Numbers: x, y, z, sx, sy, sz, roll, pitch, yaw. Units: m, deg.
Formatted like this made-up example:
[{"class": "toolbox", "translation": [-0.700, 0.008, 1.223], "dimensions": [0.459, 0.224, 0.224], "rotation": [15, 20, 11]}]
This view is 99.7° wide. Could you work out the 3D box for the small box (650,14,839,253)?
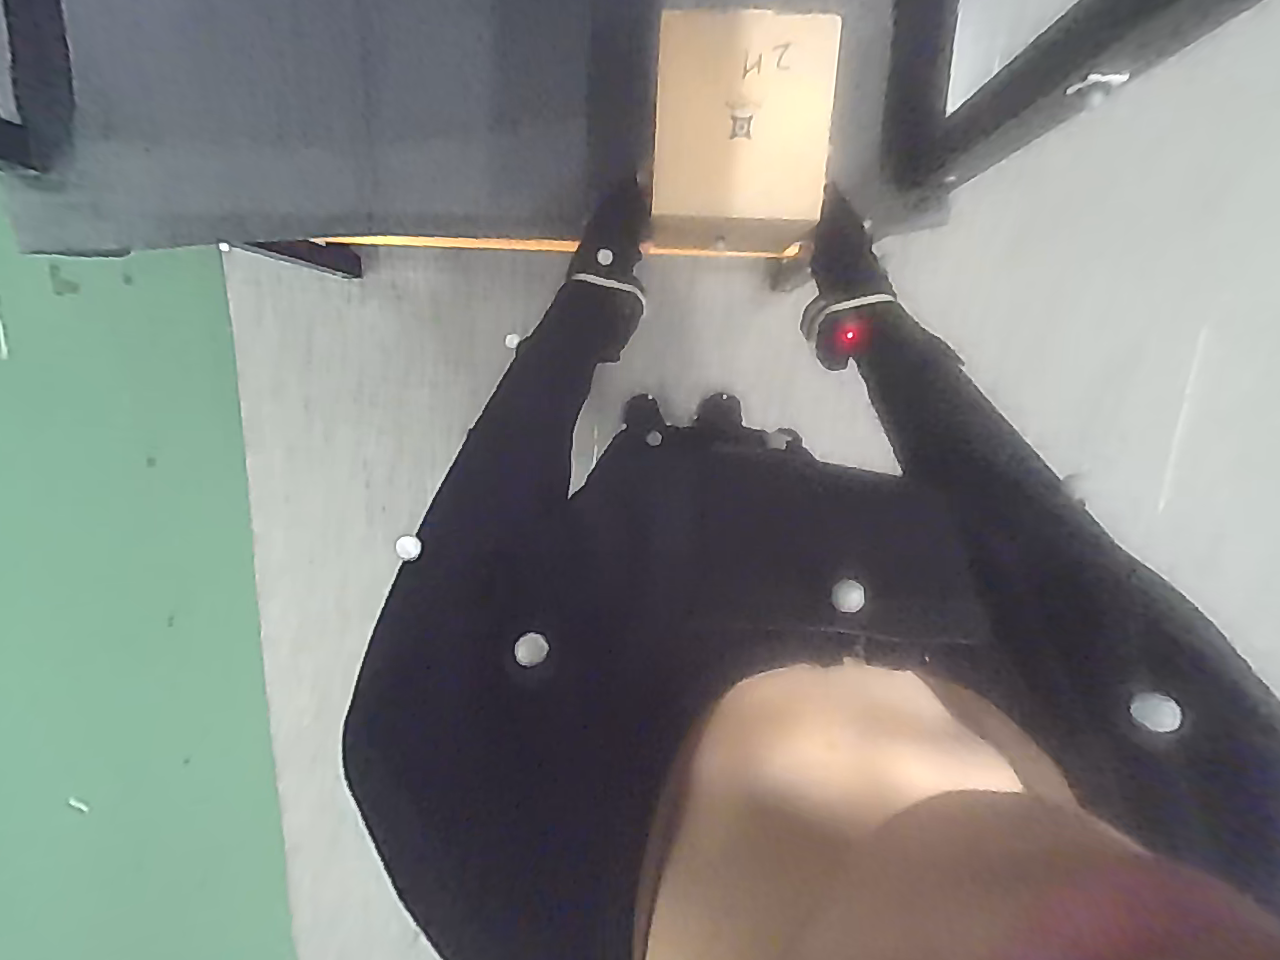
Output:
[{"class": "small box", "translation": [0.099, -0.356, 0.591], "dimensions": [0.168, 0.176, 0.179], "rotation": [3, 102, 1]}]
